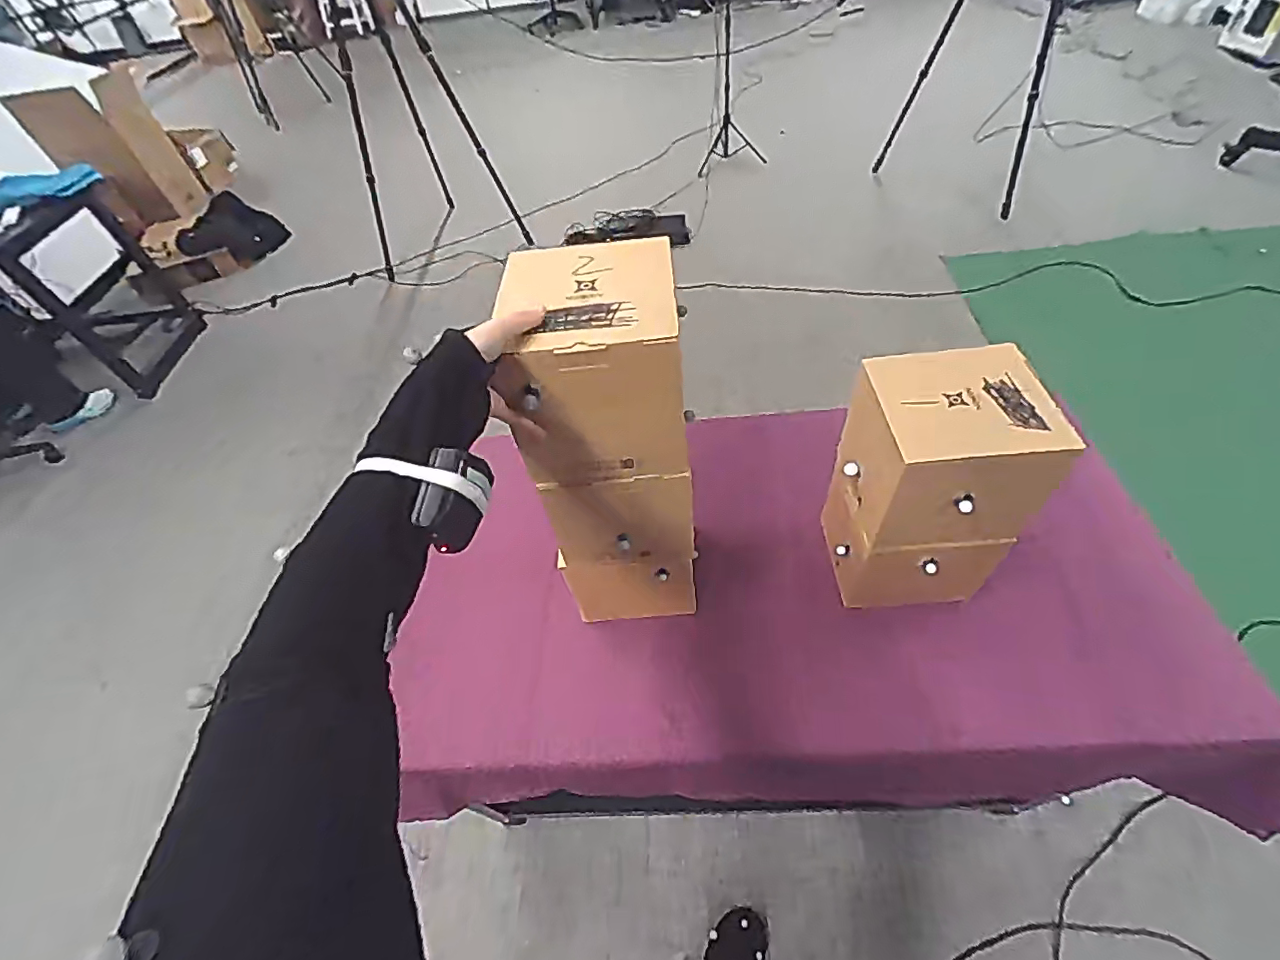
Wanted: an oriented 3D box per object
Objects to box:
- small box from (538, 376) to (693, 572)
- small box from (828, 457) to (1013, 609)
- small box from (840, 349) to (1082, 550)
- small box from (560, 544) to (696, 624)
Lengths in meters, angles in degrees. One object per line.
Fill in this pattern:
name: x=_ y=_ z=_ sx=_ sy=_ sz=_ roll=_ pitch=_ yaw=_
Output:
small box: x=-0.023 y=-0.006 z=0.684 sx=0.168 sy=0.176 sz=0.179 roll=-6 pitch=50 yaw=3
small box: x=0.377 y=0.074 z=0.772 sx=0.179 sy=0.176 sz=0.168 roll=-4 pitch=51 yaw=4
small box: x=0.357 y=-0.031 z=0.647 sx=0.179 sy=0.176 sz=0.168 roll=-6 pitch=51 yaw=5
small box: x=-0.012 y=0.103 z=0.808 sx=0.179 sy=0.176 sz=0.168 roll=-5 pitch=50 yaw=3
